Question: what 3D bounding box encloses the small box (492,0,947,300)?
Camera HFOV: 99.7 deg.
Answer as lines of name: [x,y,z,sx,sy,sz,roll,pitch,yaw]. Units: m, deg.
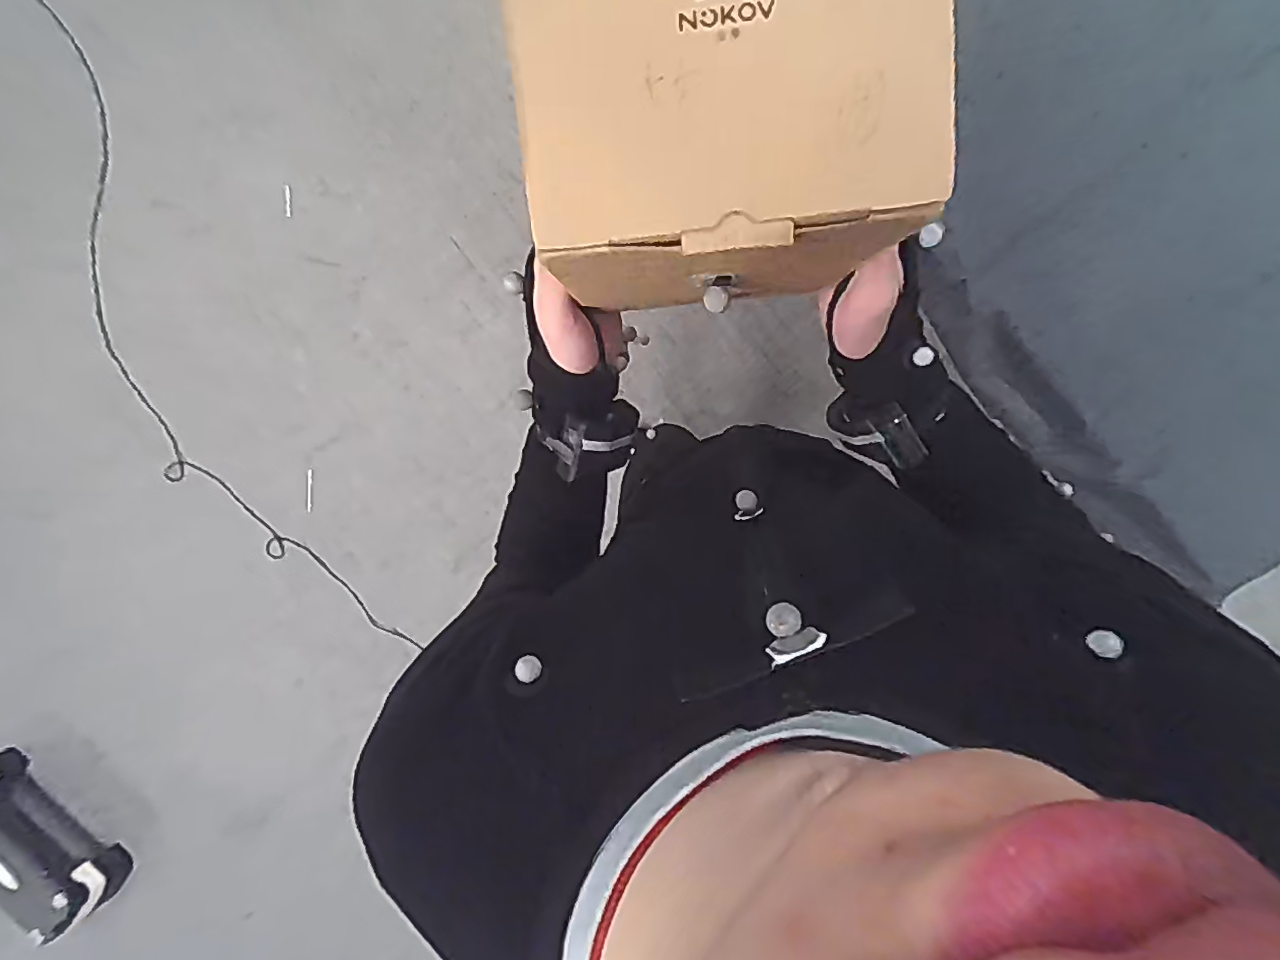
small box: [0.029,-0.193,0.273,0.168,0.176,0.179,-5,100,2]
